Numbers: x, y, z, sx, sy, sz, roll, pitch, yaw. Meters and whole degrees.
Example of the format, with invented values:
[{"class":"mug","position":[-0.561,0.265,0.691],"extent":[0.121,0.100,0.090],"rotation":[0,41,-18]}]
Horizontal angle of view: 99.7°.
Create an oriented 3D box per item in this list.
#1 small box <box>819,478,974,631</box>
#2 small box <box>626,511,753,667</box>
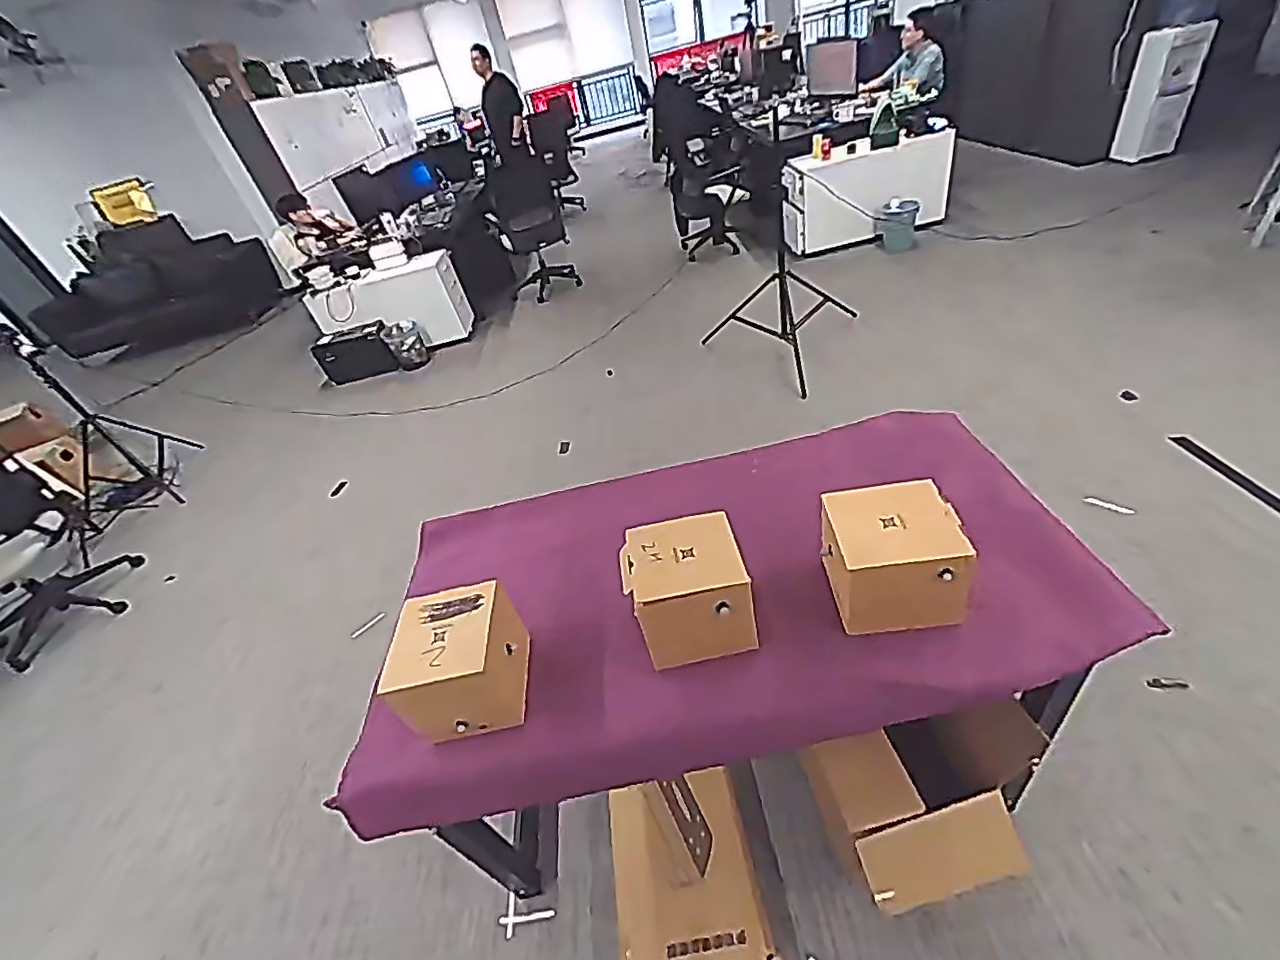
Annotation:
[{"class":"small box","position":[0.396,0.123,0.864],"extent":[0.179,0.176,0.168],"rotation":[-9,39,8]},{"class":"small box","position":[0.084,0.182,0.898],"extent":[0.179,0.176,0.168],"rotation":[-14,36,3]}]
